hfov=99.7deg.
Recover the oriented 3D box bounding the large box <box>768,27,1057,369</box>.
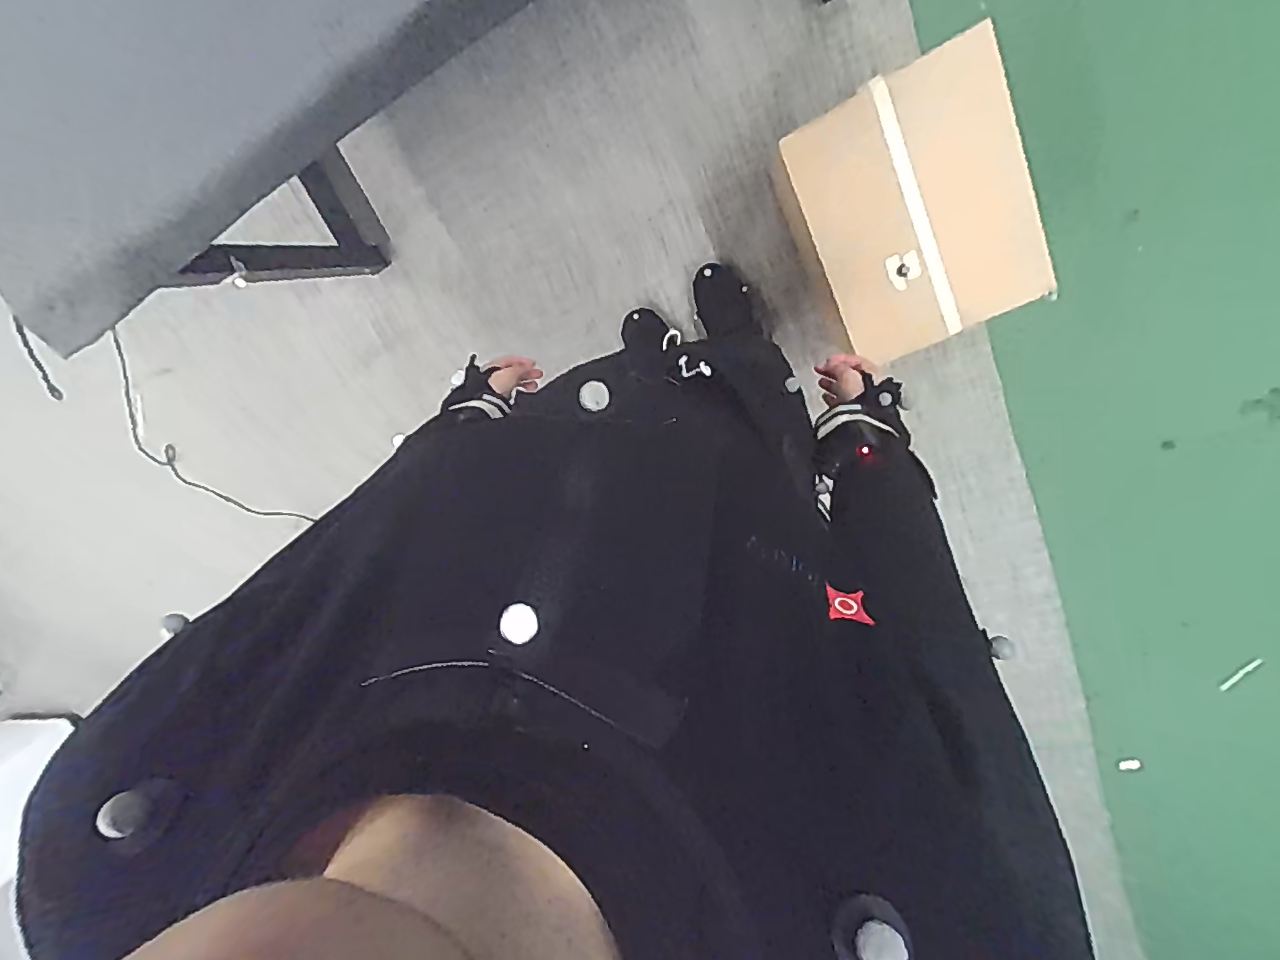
[{"bbox_3d":[0.463,-0.472,0.990,0.320,0.320,0.408,-23,107,18],"label":"large box"}]
